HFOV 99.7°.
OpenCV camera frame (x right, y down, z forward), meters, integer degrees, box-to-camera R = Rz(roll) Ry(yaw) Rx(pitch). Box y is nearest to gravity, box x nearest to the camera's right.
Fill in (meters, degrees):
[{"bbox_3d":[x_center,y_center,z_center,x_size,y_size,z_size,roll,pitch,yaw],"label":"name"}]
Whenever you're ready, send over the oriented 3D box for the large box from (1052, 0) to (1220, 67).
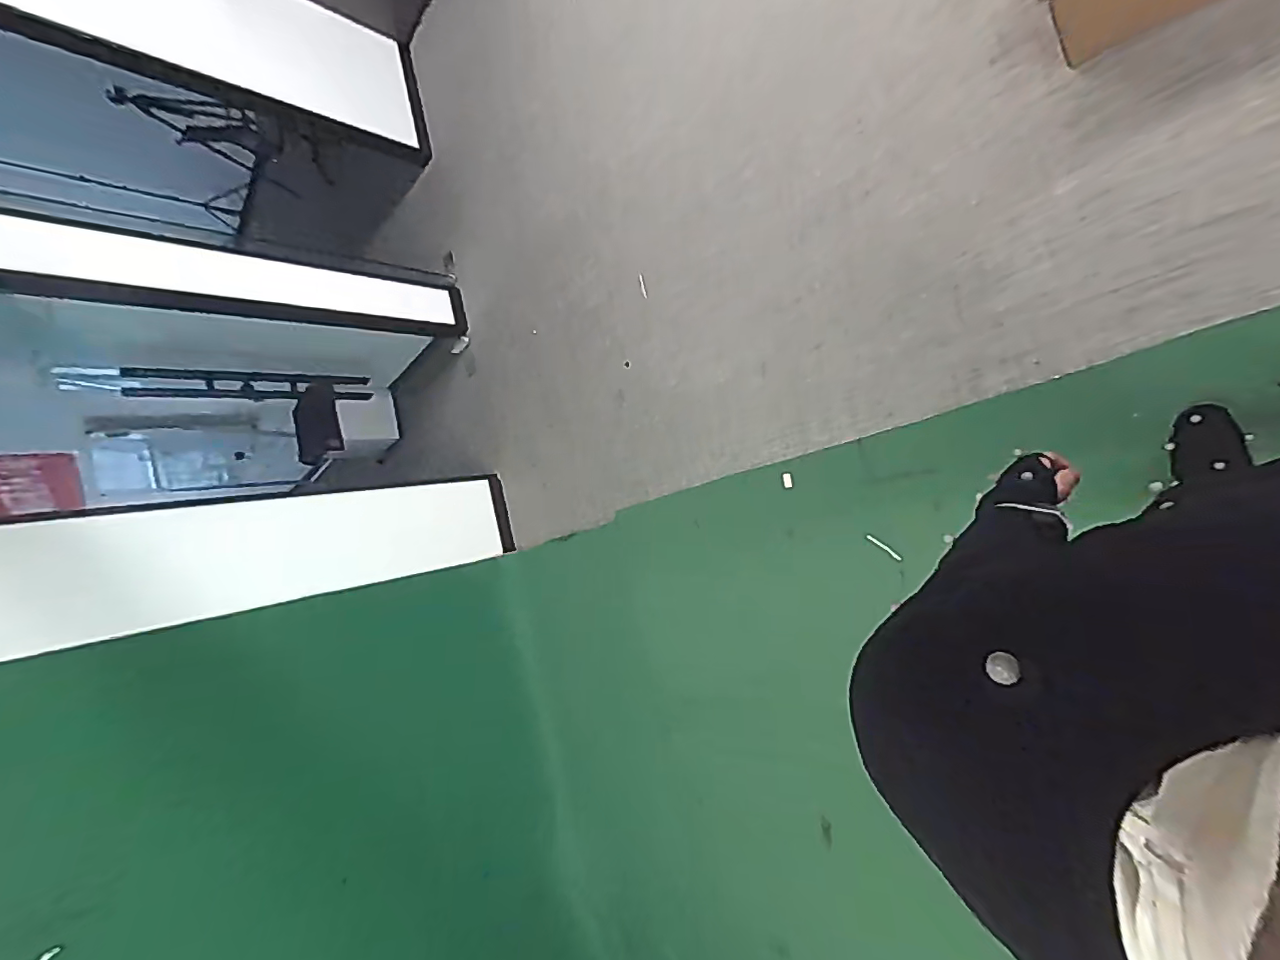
[{"bbox_3d":[1.040,-1.113,1.022,0.408,0.320,0.320,-5,90,46],"label":"large box"}]
